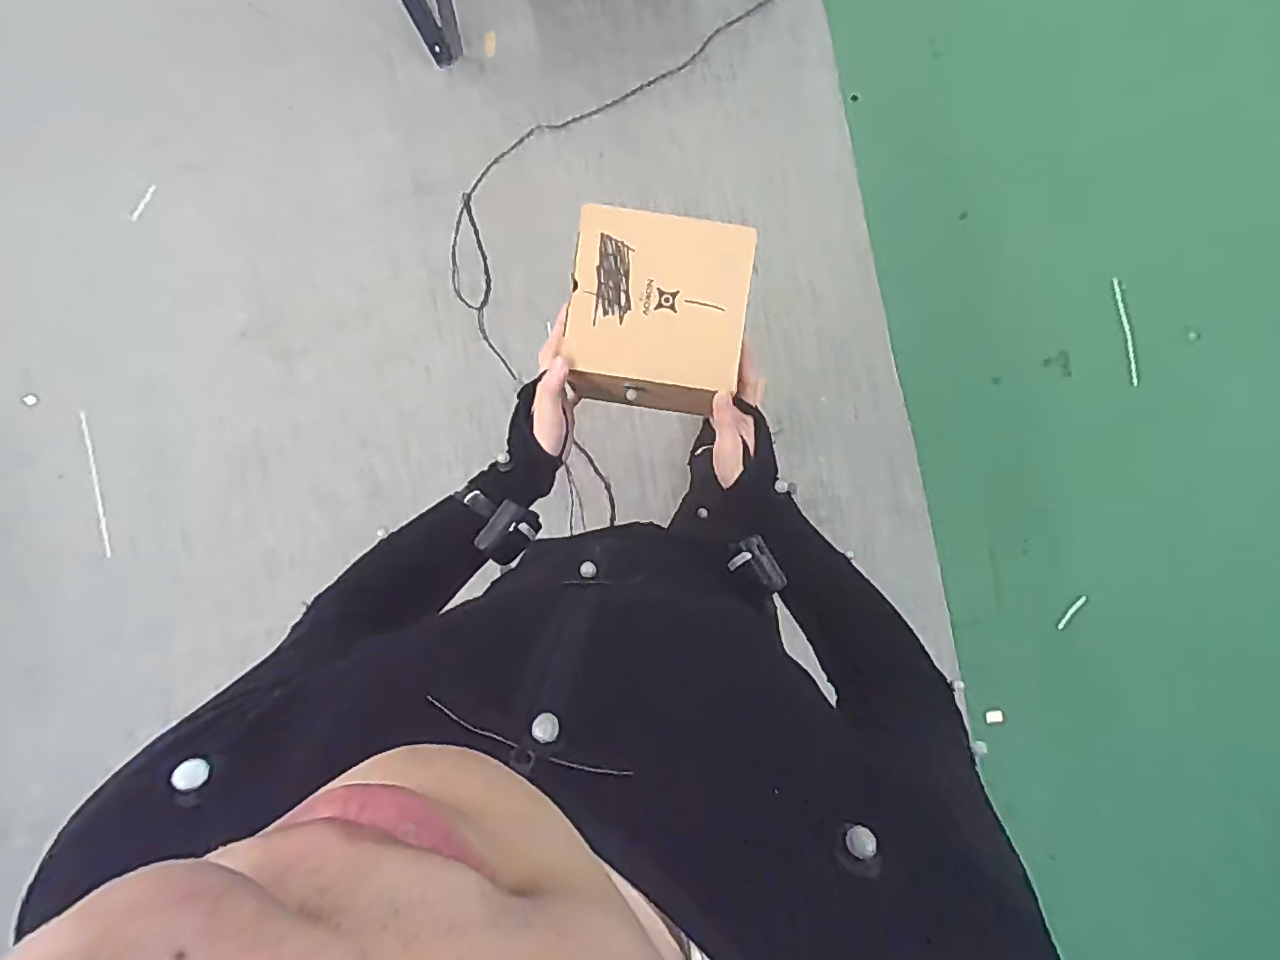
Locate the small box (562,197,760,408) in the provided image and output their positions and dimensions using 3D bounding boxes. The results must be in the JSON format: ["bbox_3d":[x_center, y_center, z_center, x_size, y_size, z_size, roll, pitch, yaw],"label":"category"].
[{"bbox_3d":[0.020,-0.181,0.602,0.179,0.176,0.168,7,88,-1],"label":"small box"}]
